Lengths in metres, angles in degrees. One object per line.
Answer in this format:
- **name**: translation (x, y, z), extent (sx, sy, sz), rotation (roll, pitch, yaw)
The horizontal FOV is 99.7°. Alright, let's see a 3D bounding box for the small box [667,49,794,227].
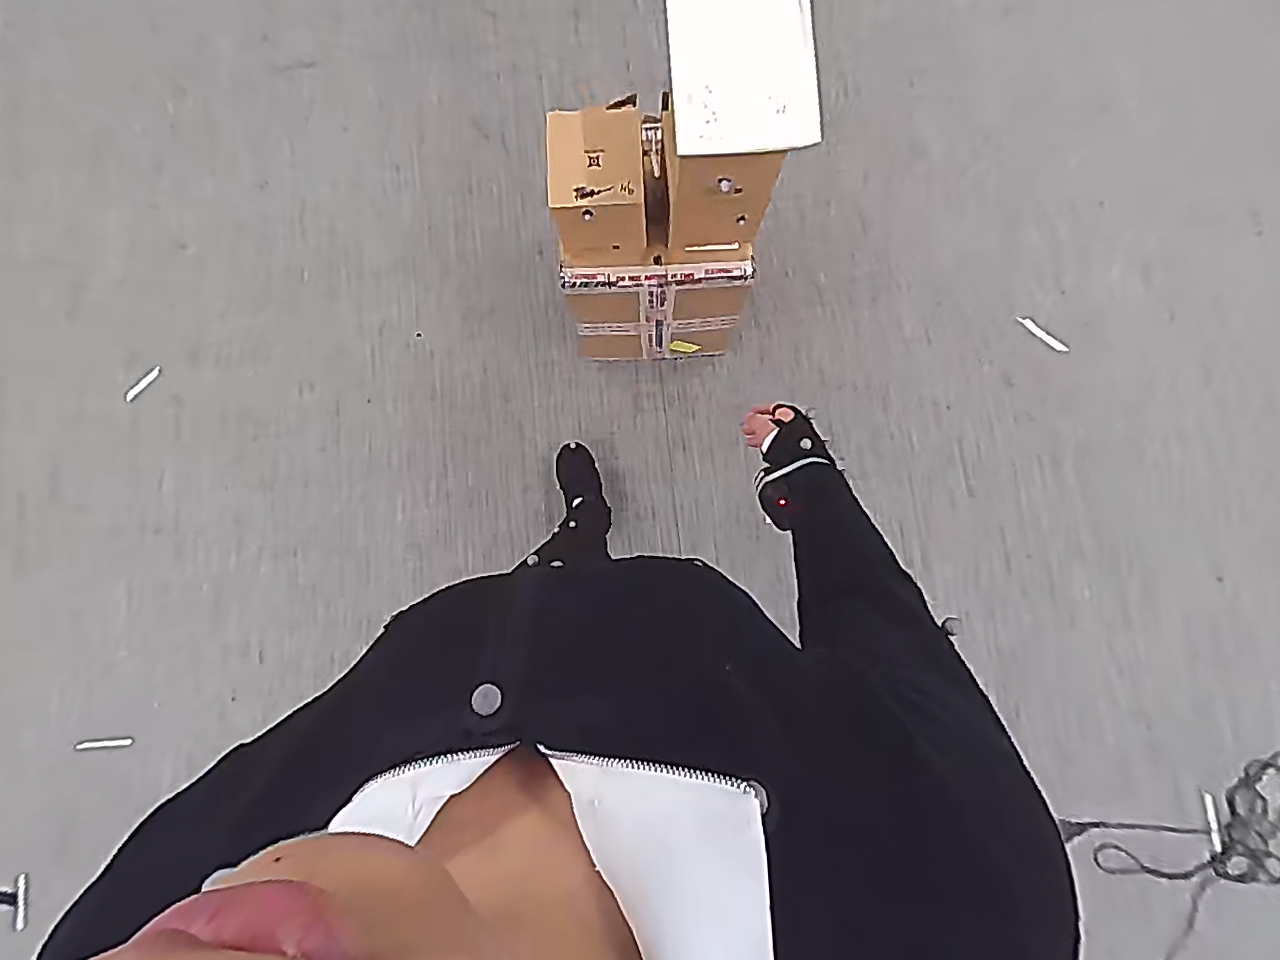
- **small box**: translation (0.133, -0.529, 0.855), extent (0.168, 0.176, 0.179), rotation (-3, 86, -1)
